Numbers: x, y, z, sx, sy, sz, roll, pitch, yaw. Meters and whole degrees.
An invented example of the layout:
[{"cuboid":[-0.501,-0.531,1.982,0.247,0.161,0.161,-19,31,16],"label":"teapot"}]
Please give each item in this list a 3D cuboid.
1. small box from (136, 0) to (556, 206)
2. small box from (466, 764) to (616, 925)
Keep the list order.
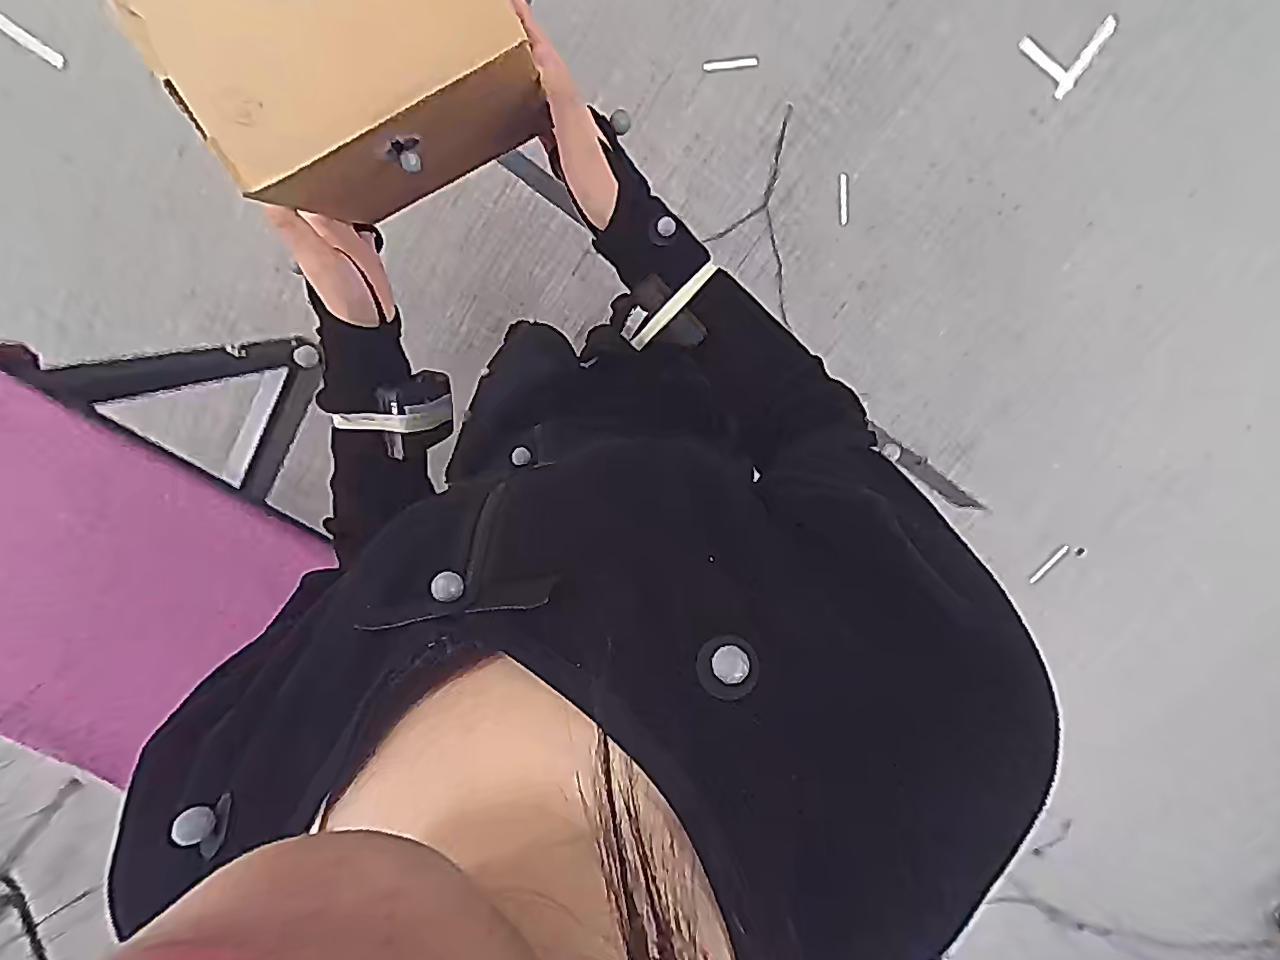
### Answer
[{"cuboid":[-0.166,-0.288,0.328,0.179,0.176,0.168,-23,111,5],"label":"small box"},{"cuboid":[-0.151,0.605,0.876,0.168,0.176,0.179,29,107,-10],"label":"small box"}]
